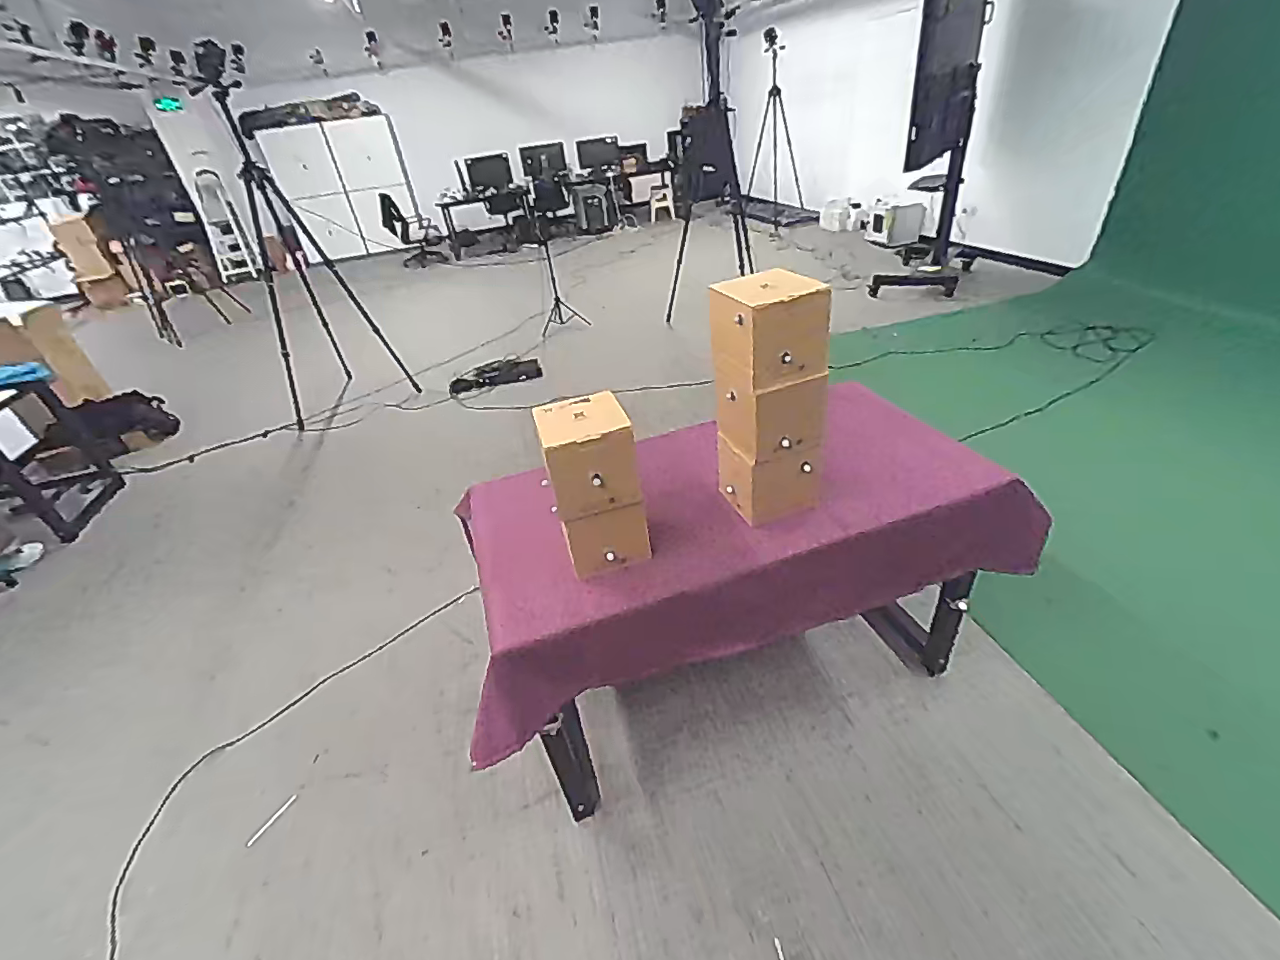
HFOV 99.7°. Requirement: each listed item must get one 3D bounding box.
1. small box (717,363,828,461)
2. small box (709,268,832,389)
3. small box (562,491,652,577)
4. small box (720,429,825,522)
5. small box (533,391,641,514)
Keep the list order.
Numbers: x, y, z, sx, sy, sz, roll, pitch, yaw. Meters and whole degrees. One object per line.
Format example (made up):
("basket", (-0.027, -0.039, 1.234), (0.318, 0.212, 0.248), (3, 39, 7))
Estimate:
("small box", (0.274, -0.164, 1.147), (0.168, 0.176, 0.179), (-18, 36, -11))
("small box", (0.248, -0.299, 1.060), (0.168, 0.176, 0.179), (-19, 37, -13))
("small box", (-0.081, 0.078, 1.167), (0.168, 0.176, 0.179), (-16, 36, -10))
("small box", (0.297, -0.030, 1.238), (0.179, 0.176, 0.168), (-17, 35, -11))
("small box", (-0.103, -0.051, 1.067), (0.168, 0.176, 0.179), (-15, 36, -10))
